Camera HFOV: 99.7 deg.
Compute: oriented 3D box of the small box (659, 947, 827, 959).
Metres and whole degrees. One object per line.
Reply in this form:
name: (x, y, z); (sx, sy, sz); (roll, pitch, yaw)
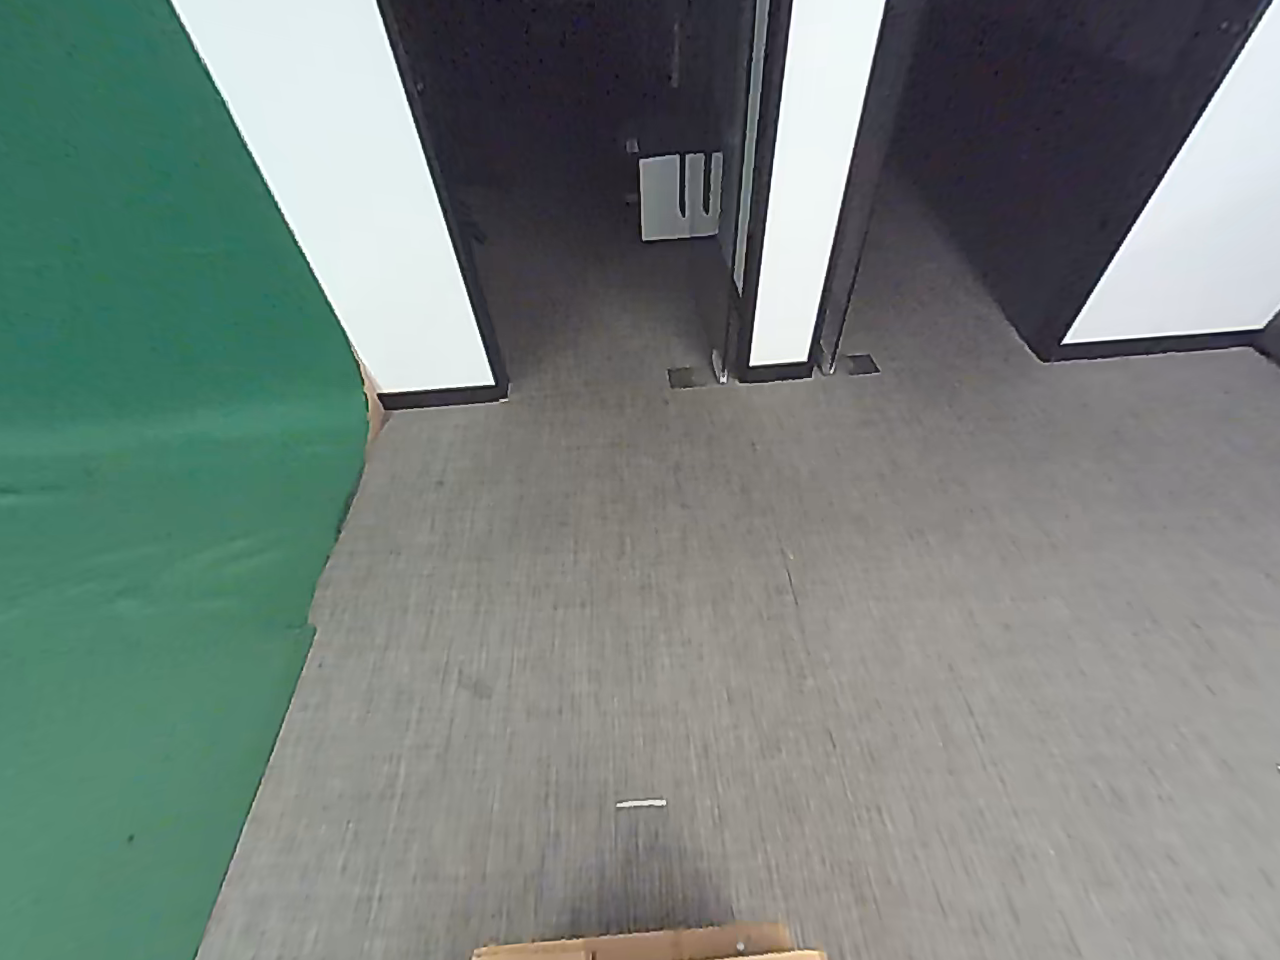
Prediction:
small box: (0.111, 0.594, 0.557); (0.179, 0.176, 0.168); (-6, 47, 1)
